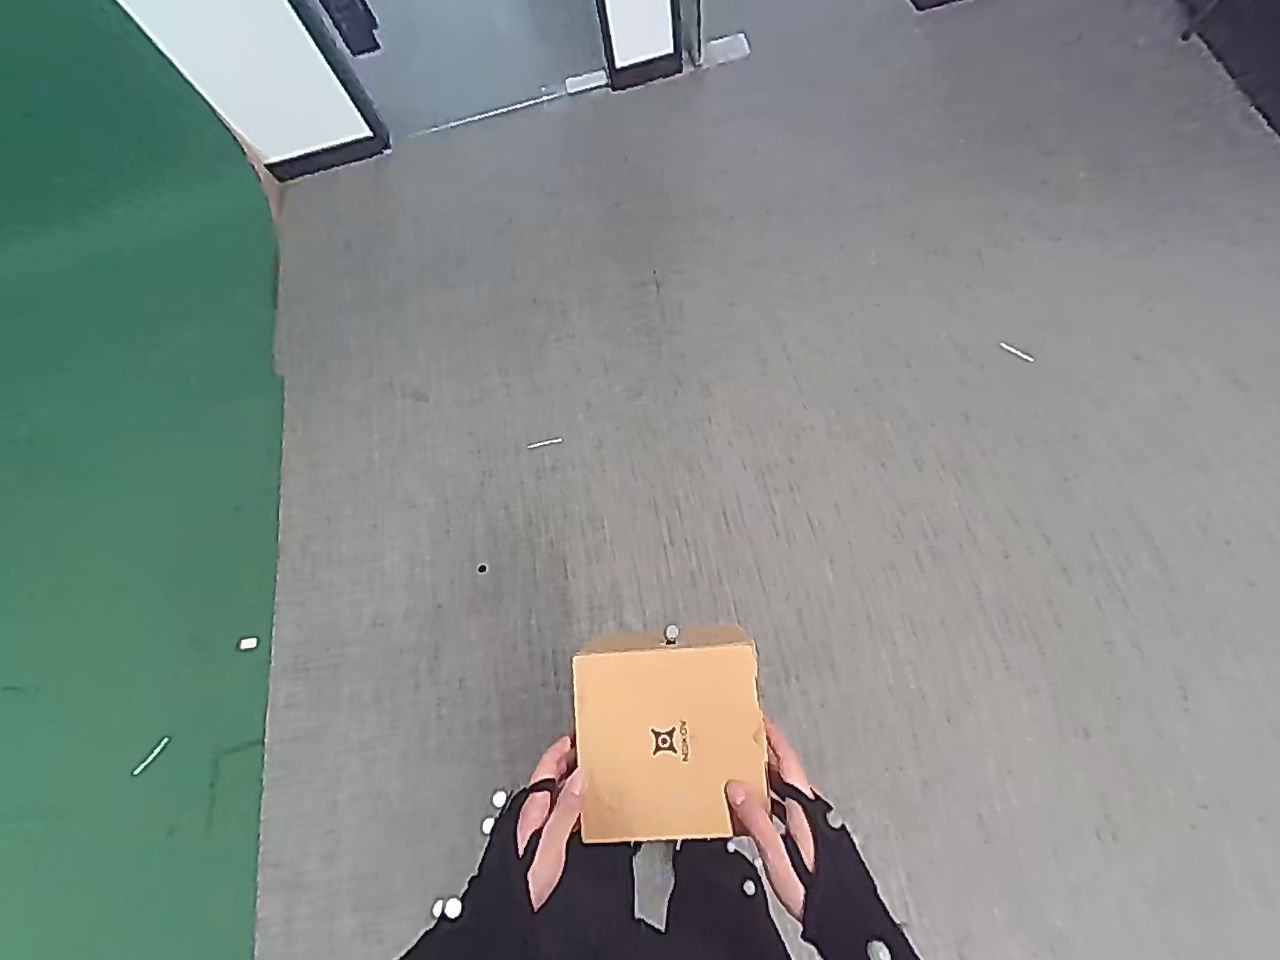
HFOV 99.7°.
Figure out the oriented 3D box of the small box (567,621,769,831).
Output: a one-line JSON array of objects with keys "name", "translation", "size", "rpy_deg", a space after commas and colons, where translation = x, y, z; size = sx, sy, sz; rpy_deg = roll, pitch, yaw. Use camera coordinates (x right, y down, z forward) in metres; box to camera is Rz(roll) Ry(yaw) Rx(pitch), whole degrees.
[{"name": "small box", "translation": [0.029, 0.242, 0.569], "size": [0.179, 0.176, 0.168], "rpy_deg": [-5, 79, 3]}]
